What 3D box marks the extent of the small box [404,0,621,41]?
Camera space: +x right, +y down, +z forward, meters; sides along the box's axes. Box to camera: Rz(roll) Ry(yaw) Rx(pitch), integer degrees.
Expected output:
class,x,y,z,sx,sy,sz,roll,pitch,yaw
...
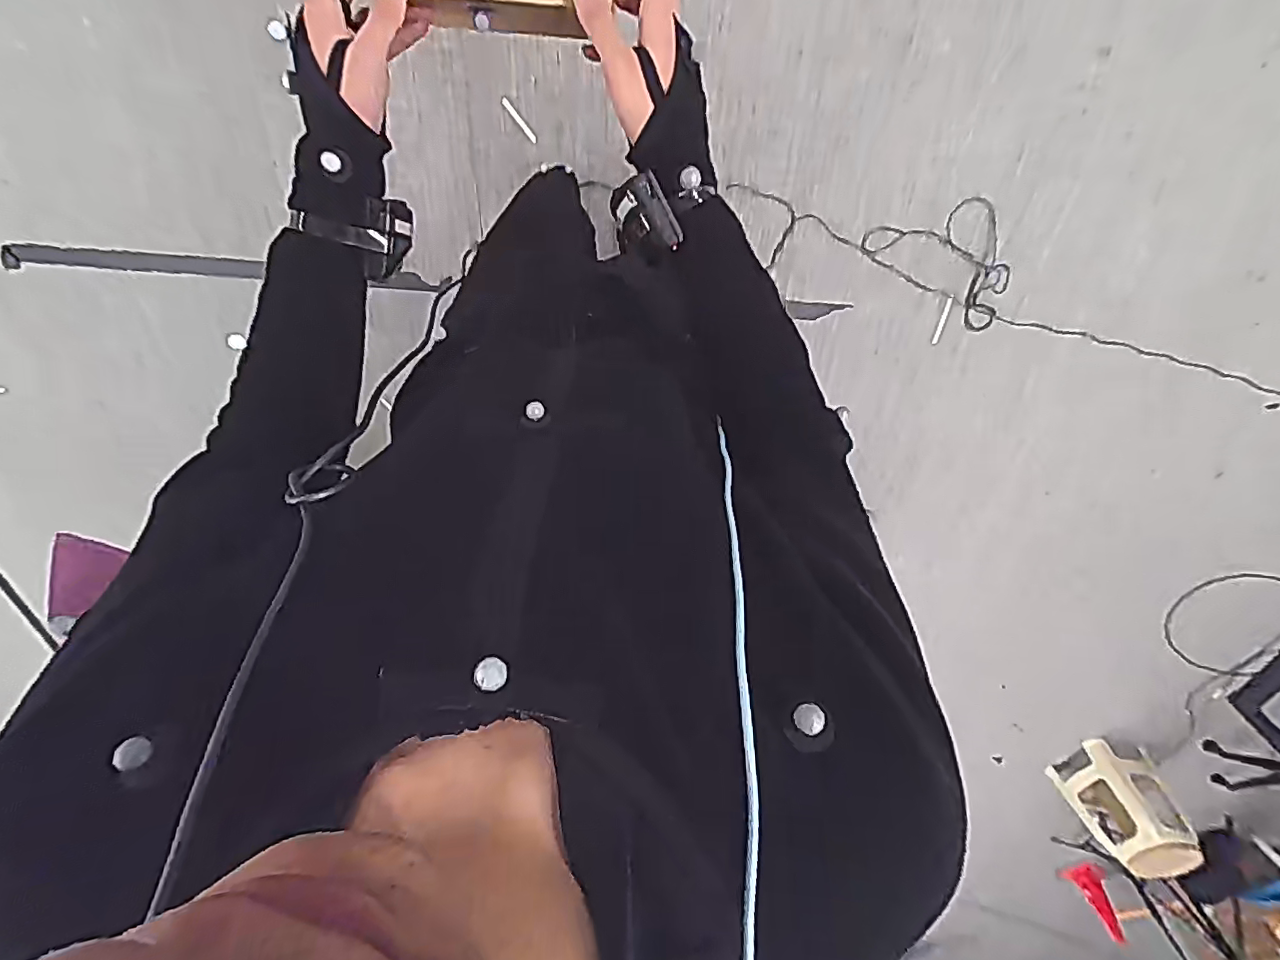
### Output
class,x,y,z,sx,sy,sz,roll,pitch,yaw
small box,-0.101,-0.443,0.398,0.179,0.176,0.168,3,123,-3
